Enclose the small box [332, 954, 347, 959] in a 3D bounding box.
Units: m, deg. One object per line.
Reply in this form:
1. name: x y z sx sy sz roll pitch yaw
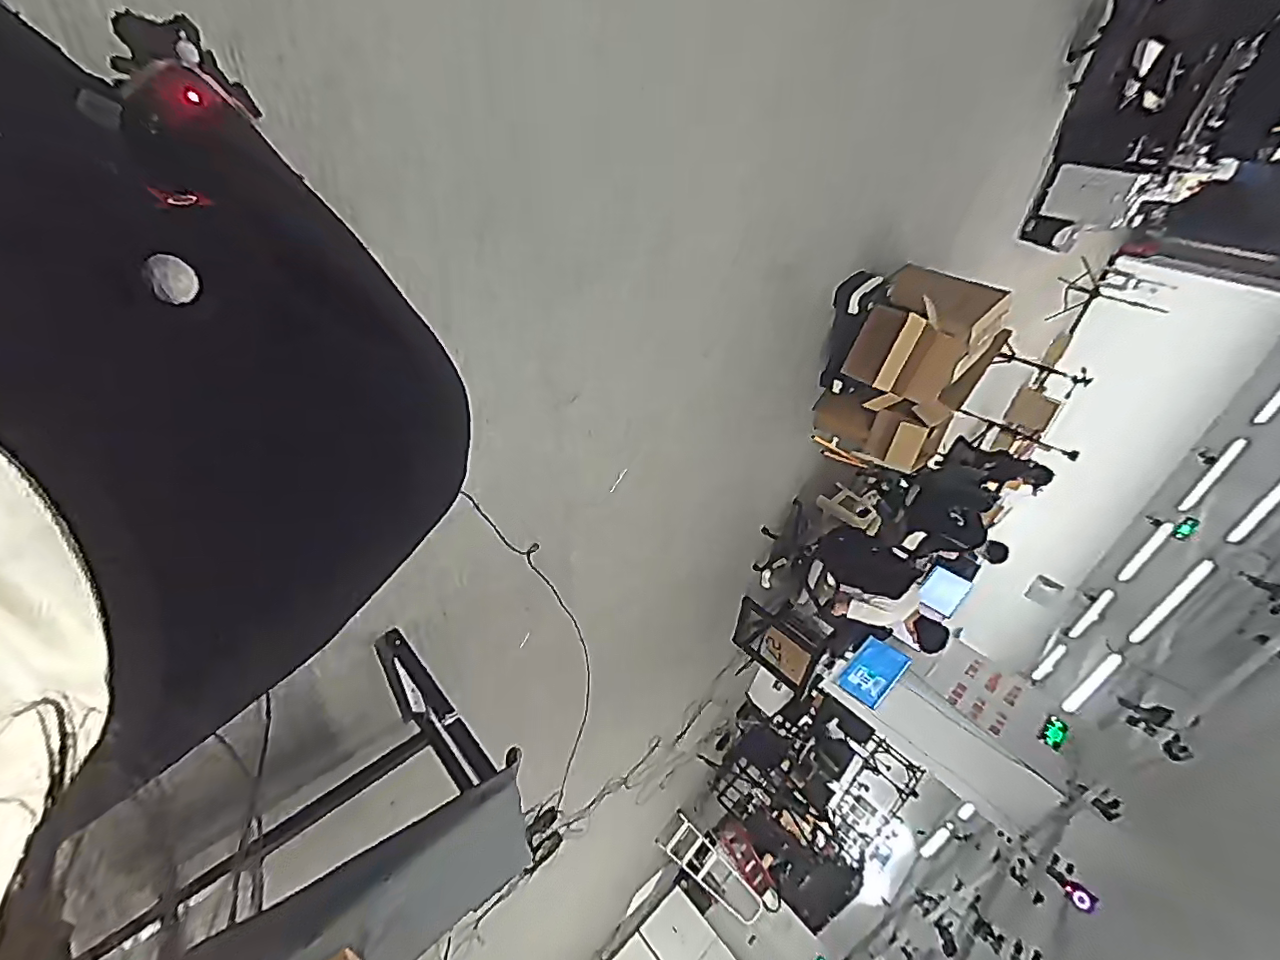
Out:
1. small box: -0.747 1.286 1.279 0.179 0.176 0.168 -27 136 -34
